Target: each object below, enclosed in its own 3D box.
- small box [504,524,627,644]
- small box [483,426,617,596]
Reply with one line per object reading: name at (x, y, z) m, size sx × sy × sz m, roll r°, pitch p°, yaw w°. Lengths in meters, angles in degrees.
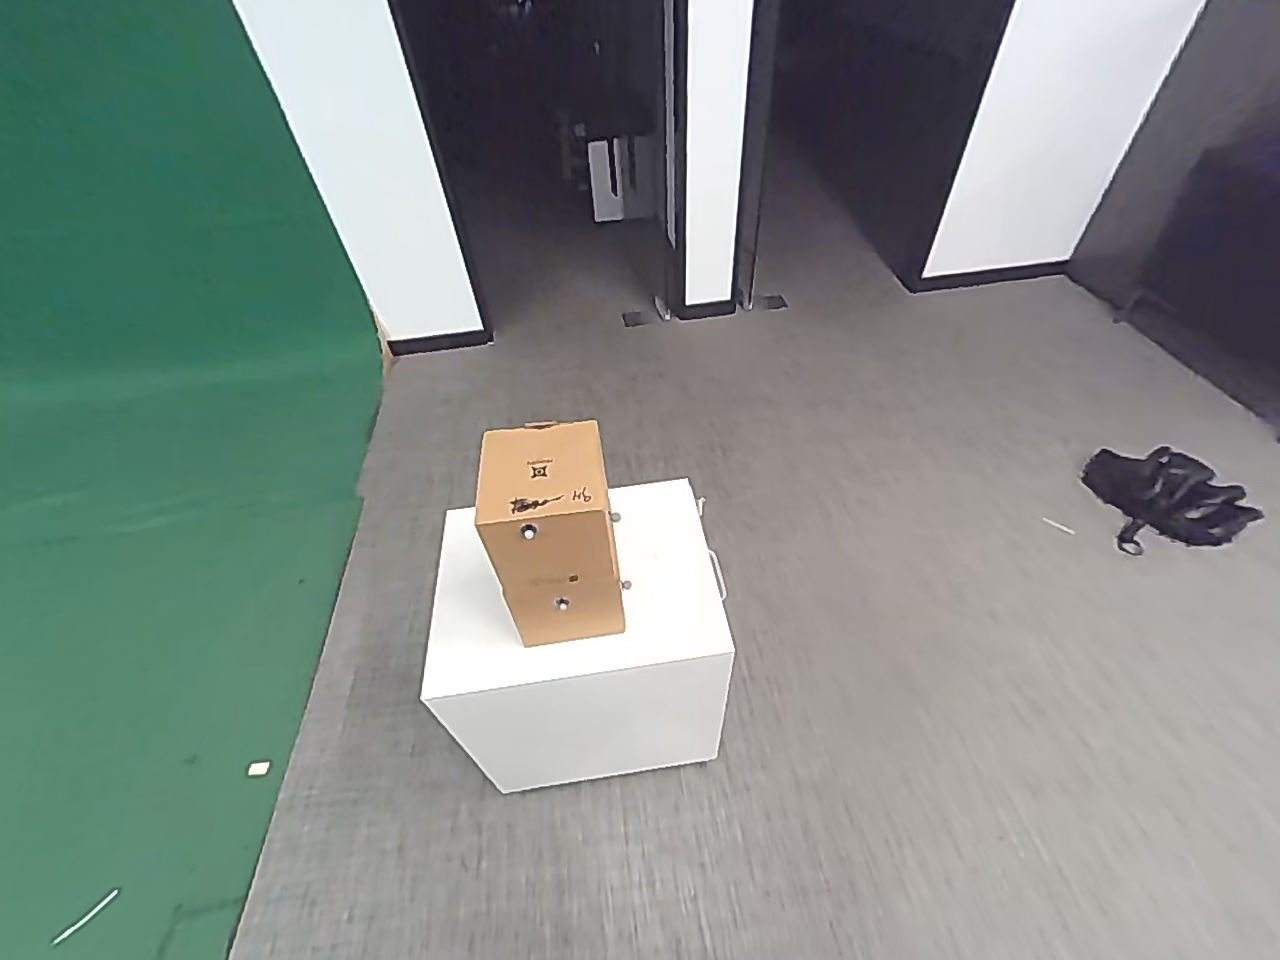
small box at (-0.121, 0.160, 0.913) m, size 0.179 × 0.176 × 0.168 m, roll -7°, pitch 47°, yaw -4°
small box at (-0.127, 0.046, 0.799) m, size 0.168 × 0.176 × 0.179 m, roll -8°, pitch 47°, yaw -5°
